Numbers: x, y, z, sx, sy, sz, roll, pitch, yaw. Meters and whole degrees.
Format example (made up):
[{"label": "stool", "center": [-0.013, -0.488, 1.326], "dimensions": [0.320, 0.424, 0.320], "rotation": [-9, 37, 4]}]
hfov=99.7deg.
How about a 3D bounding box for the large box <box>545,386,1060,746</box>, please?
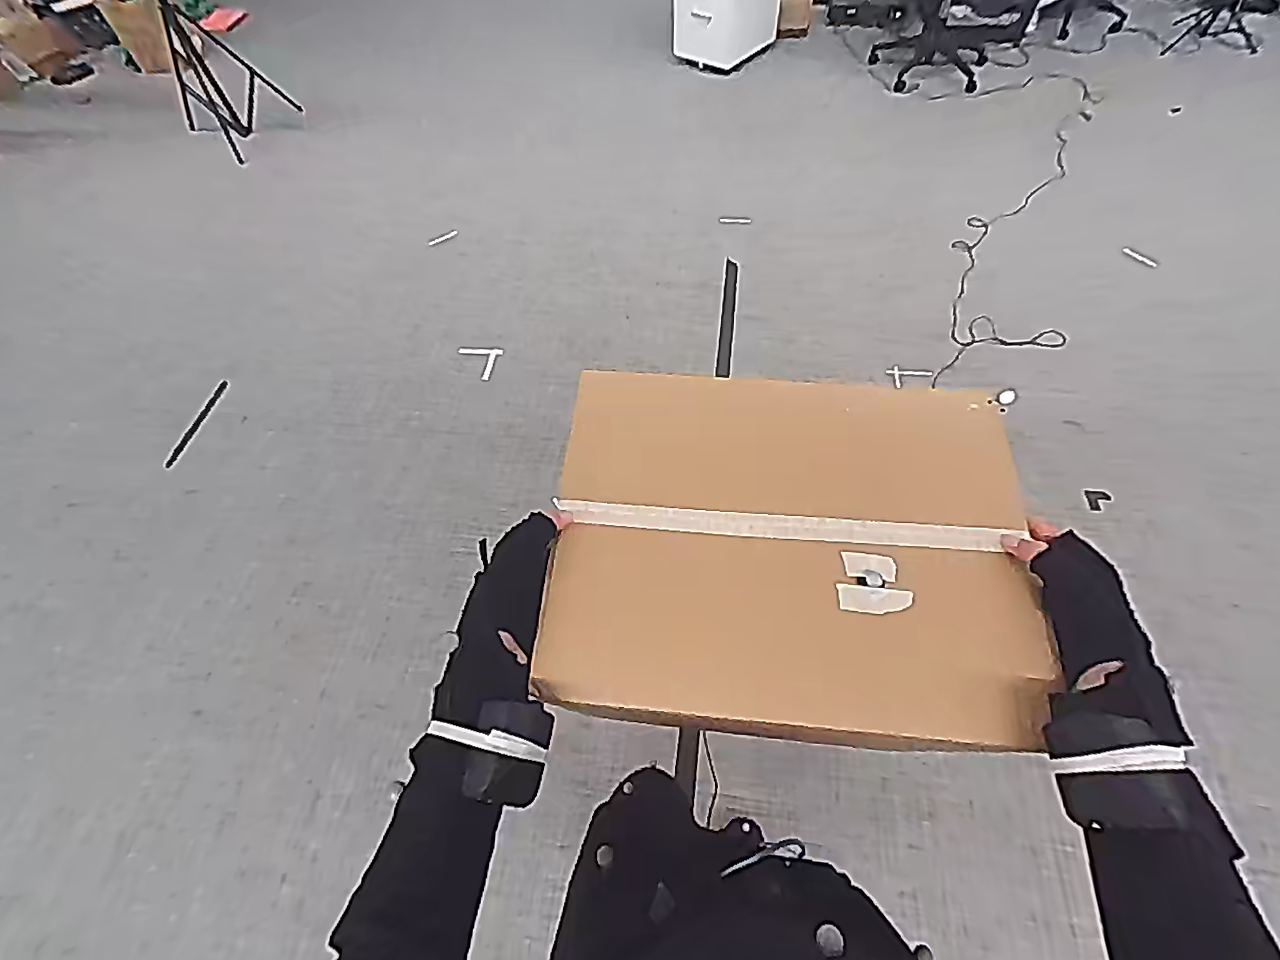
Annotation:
[{"label": "large box", "center": [0.134, 0.115, 0.615], "dimensions": [0.408, 0.320, 0.320], "rotation": [4, 65, 4]}]
